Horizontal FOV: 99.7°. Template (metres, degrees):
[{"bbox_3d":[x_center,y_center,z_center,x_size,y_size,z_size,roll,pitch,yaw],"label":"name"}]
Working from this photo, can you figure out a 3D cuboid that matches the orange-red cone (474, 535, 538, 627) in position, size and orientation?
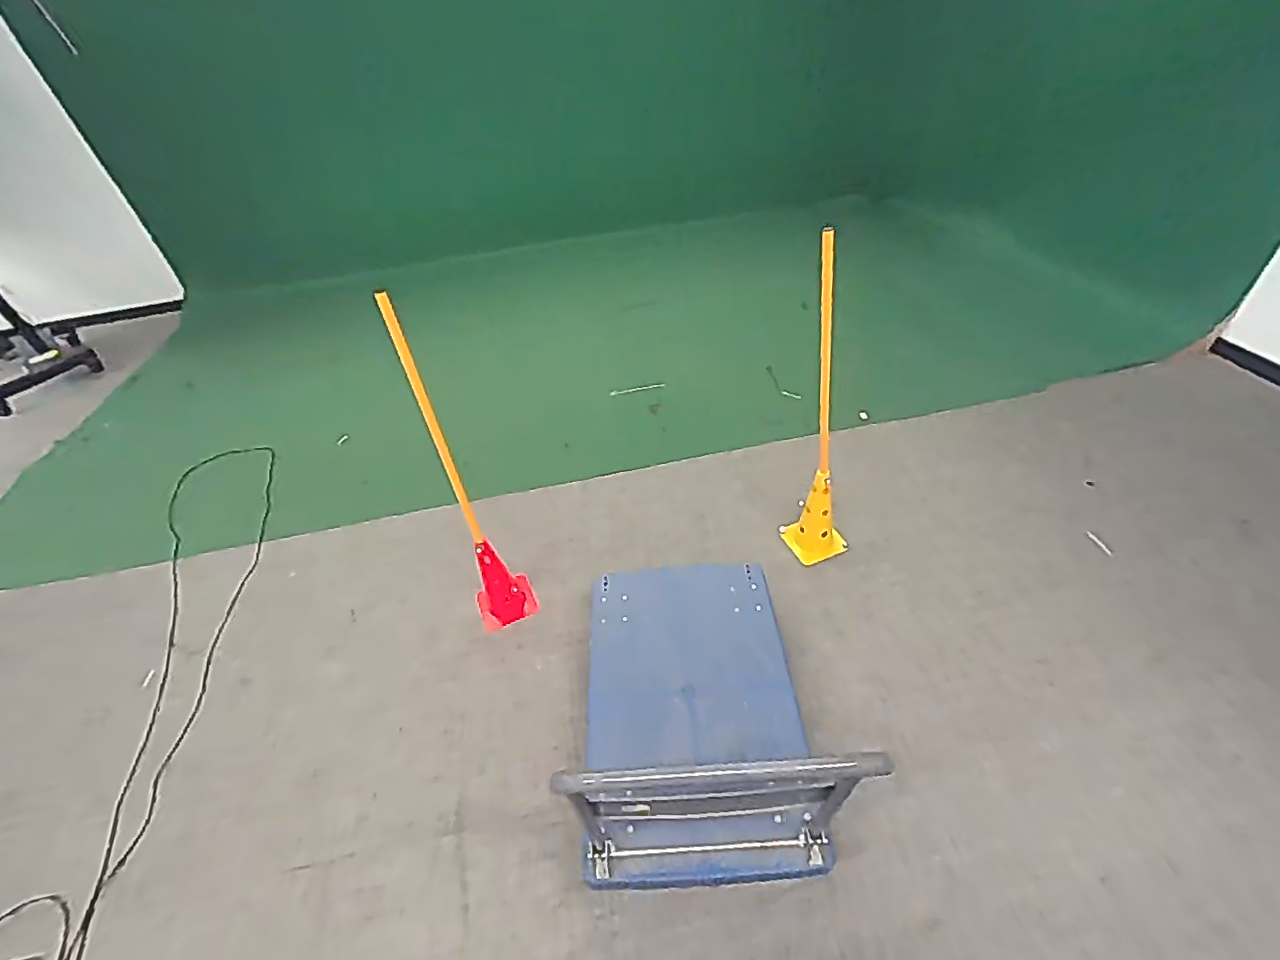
[{"bbox_3d":[-0.511,0.322,1.900,0.199,0.360,0.198,-22,44,-13],"label":"orange-red cone"}]
